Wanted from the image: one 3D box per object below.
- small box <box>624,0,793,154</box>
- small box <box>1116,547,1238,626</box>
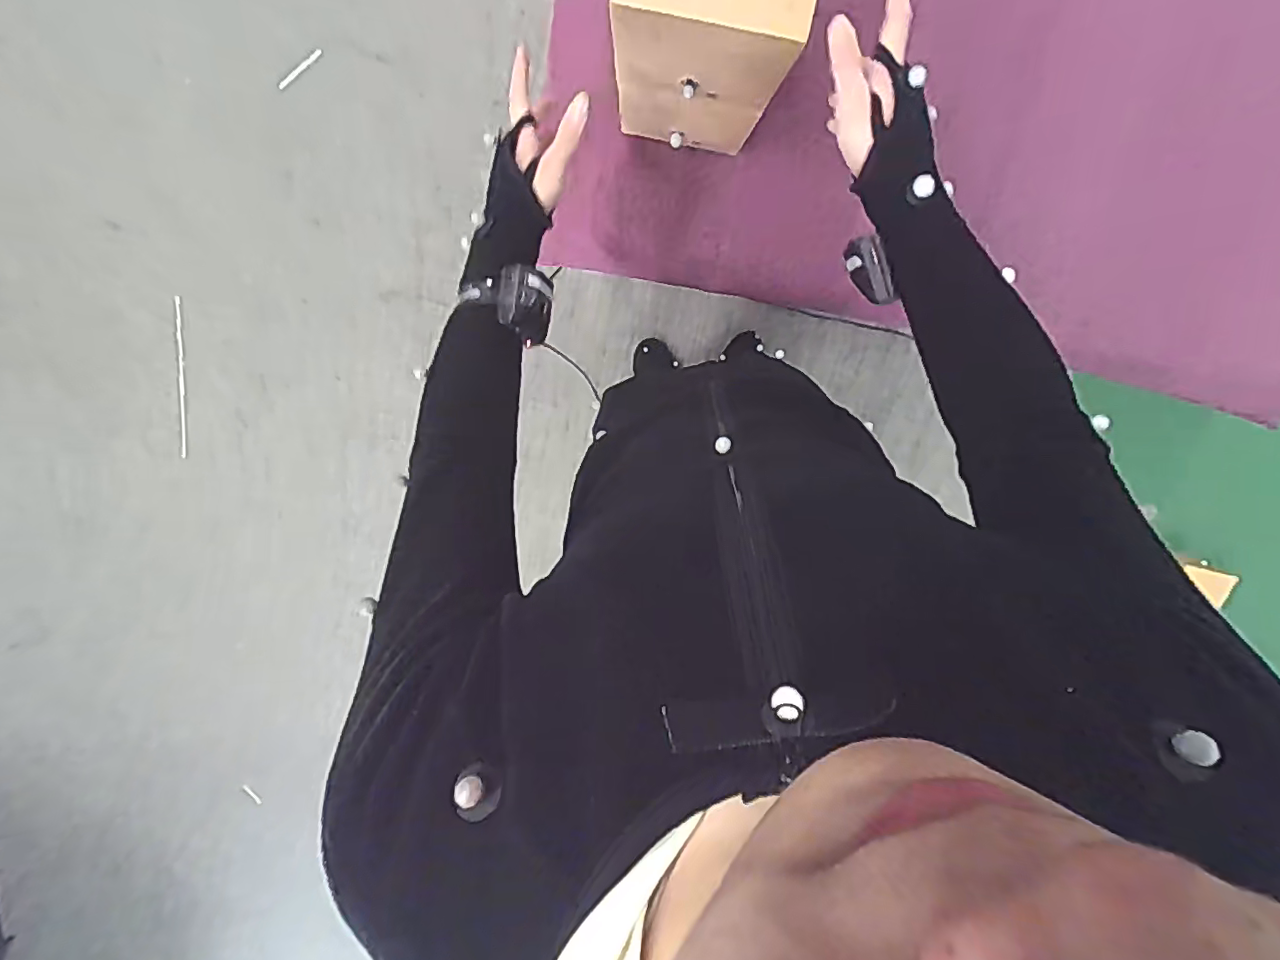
[{"bbox_3d":[0.075,-0.521,0.645,0.168,0.176,0.179,10,107,-3],"label":"small box"},{"bbox_3d":[1.641,0.321,1.666,0.179,0.176,0.168,13,106,-5],"label":"small box"}]
